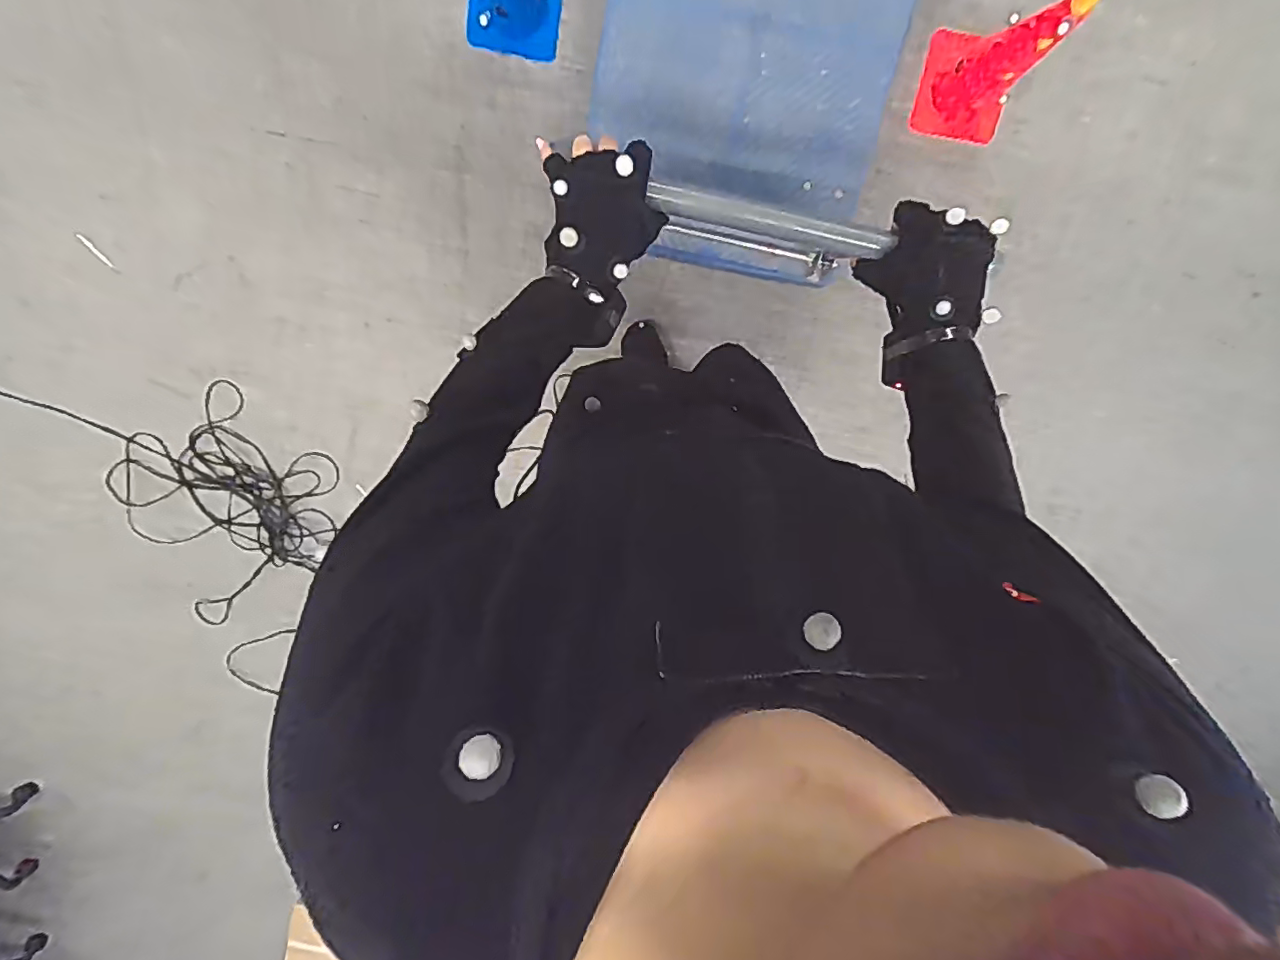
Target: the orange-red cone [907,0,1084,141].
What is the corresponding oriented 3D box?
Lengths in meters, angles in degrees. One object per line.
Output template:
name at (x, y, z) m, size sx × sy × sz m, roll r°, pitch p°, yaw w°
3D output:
orange-red cone at (0.716, -0.840, 1.056) m, size 0.199 × 0.360 × 0.198 m, roll 10°, pitch 106°, yaw -1°
